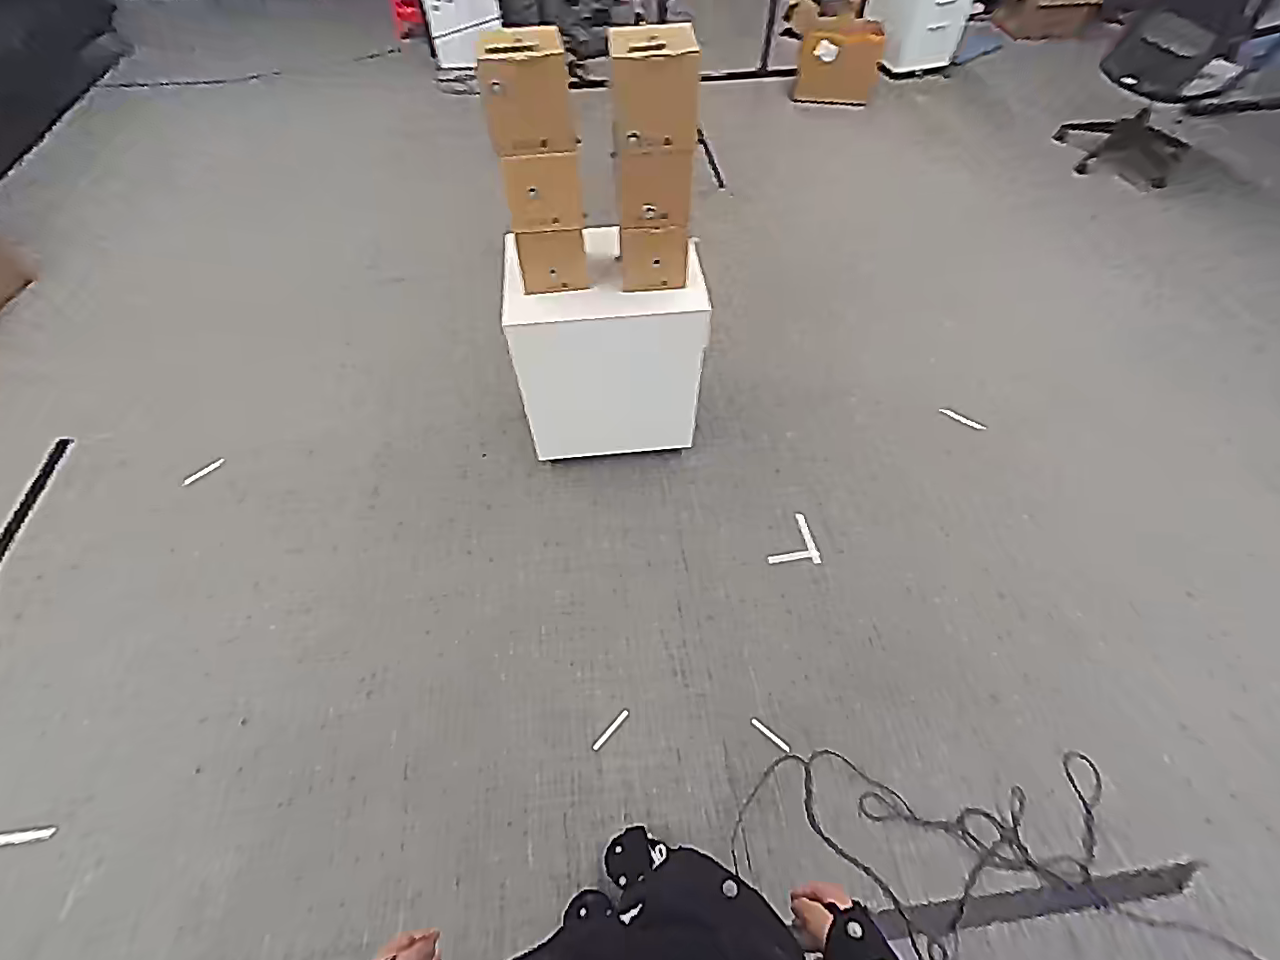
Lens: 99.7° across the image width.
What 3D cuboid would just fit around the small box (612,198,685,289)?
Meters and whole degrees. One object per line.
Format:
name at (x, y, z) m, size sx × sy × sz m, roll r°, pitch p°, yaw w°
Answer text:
small box at (0.022, -0.602, 1.369) m, size 0.168 × 0.176 × 0.179 m, roll -6°, pitch 57°, yaw -2°

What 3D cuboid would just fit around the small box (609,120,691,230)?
small box at (0.019, -0.702, 1.240) m, size 0.168 × 0.176 × 0.179 m, roll -6°, pitch 56°, yaw -2°

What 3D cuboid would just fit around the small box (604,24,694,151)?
small box at (0.018, -0.794, 1.103) m, size 0.168 × 0.176 × 0.179 m, roll -5°, pitch 54°, yaw -1°

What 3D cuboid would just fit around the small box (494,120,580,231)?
small box at (-0.230, -0.685, 1.230) m, size 0.168 × 0.176 × 0.179 m, roll -7°, pitch 55°, yaw -5°
